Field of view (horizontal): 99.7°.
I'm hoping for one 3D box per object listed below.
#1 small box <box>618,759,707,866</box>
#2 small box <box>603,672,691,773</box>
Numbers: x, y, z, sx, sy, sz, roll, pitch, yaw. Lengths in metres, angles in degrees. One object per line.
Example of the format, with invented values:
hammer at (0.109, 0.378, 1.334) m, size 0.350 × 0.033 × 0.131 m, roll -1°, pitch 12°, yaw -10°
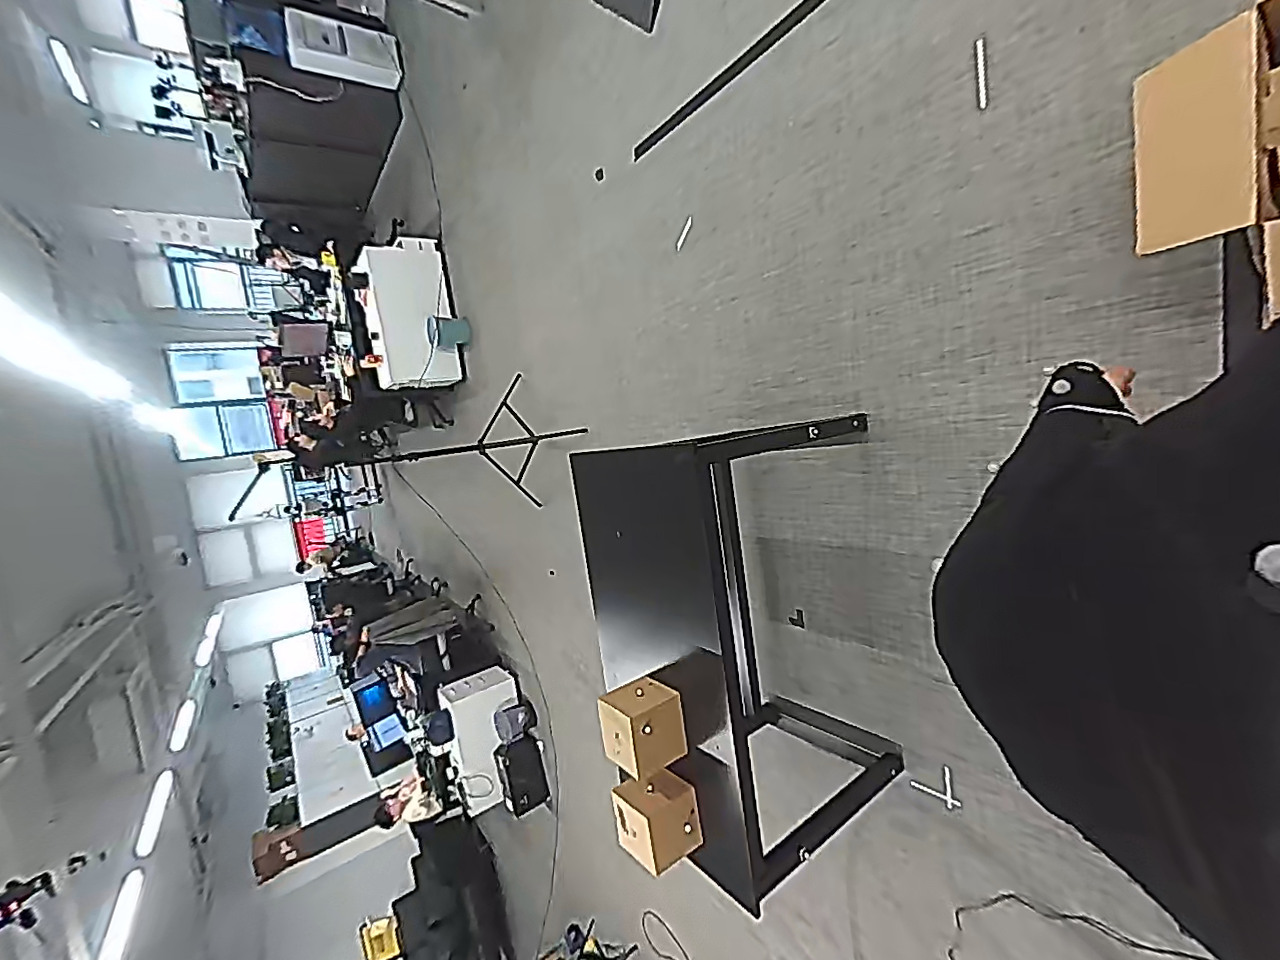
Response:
small box at (0.063, 0.919, 1.517) m, size 0.179 × 0.176 × 0.168 m, roll -4°, pitch 97°, yaw 55°
small box at (0.021, 0.656, 1.492) m, size 0.168 × 0.176 × 0.179 m, roll -1°, pitch 99°, yaw 56°
